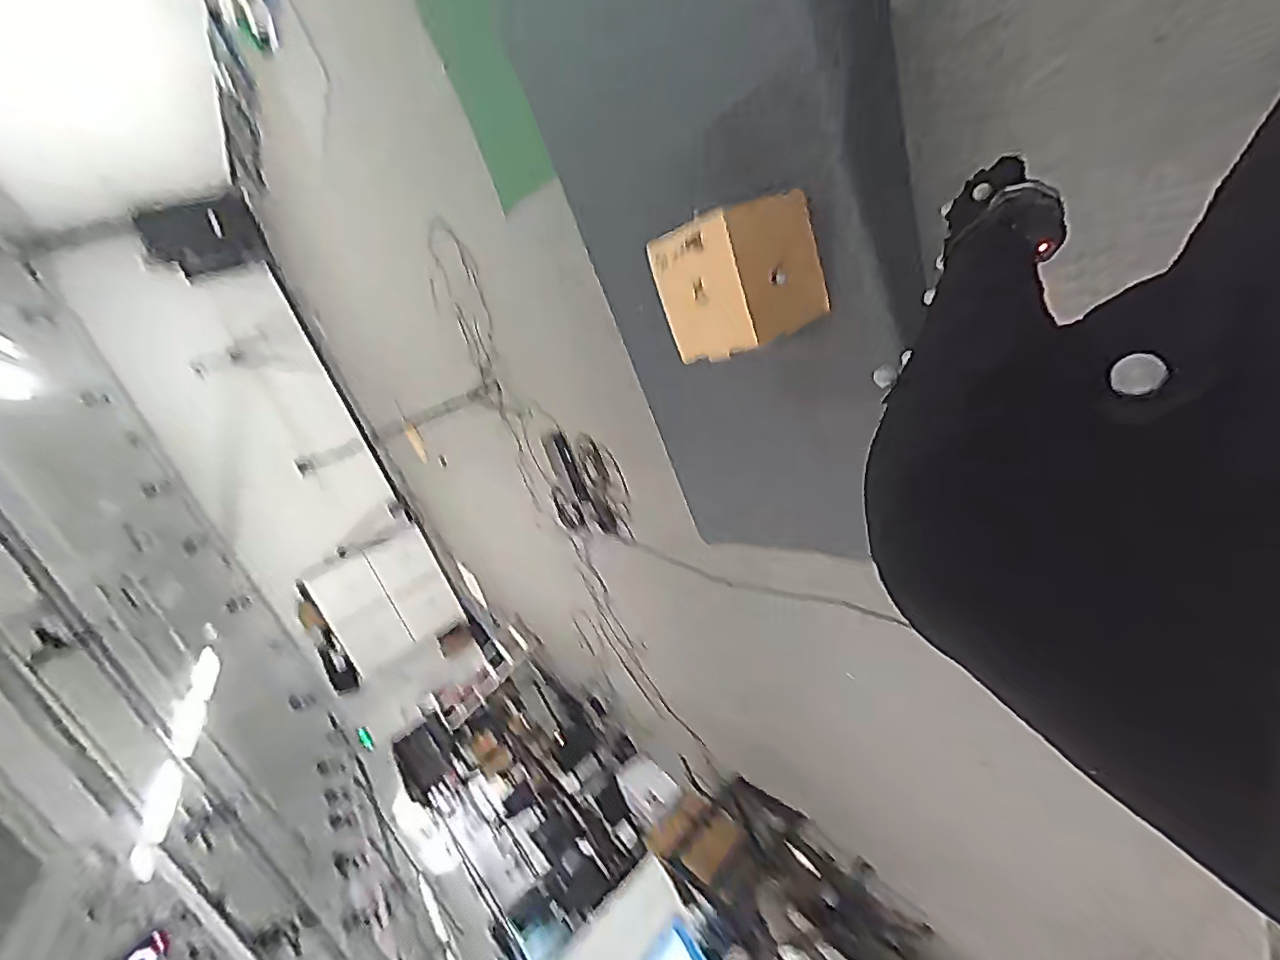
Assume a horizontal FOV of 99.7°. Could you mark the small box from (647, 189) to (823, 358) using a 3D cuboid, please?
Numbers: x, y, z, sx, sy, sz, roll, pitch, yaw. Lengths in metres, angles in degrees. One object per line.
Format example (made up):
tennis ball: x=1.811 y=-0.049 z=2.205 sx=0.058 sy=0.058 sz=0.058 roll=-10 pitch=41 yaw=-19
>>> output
small box: x=0.145 y=-0.300 z=0.802 sx=0.168 sy=0.176 sz=0.179 roll=7 pitch=123 yaw=55
